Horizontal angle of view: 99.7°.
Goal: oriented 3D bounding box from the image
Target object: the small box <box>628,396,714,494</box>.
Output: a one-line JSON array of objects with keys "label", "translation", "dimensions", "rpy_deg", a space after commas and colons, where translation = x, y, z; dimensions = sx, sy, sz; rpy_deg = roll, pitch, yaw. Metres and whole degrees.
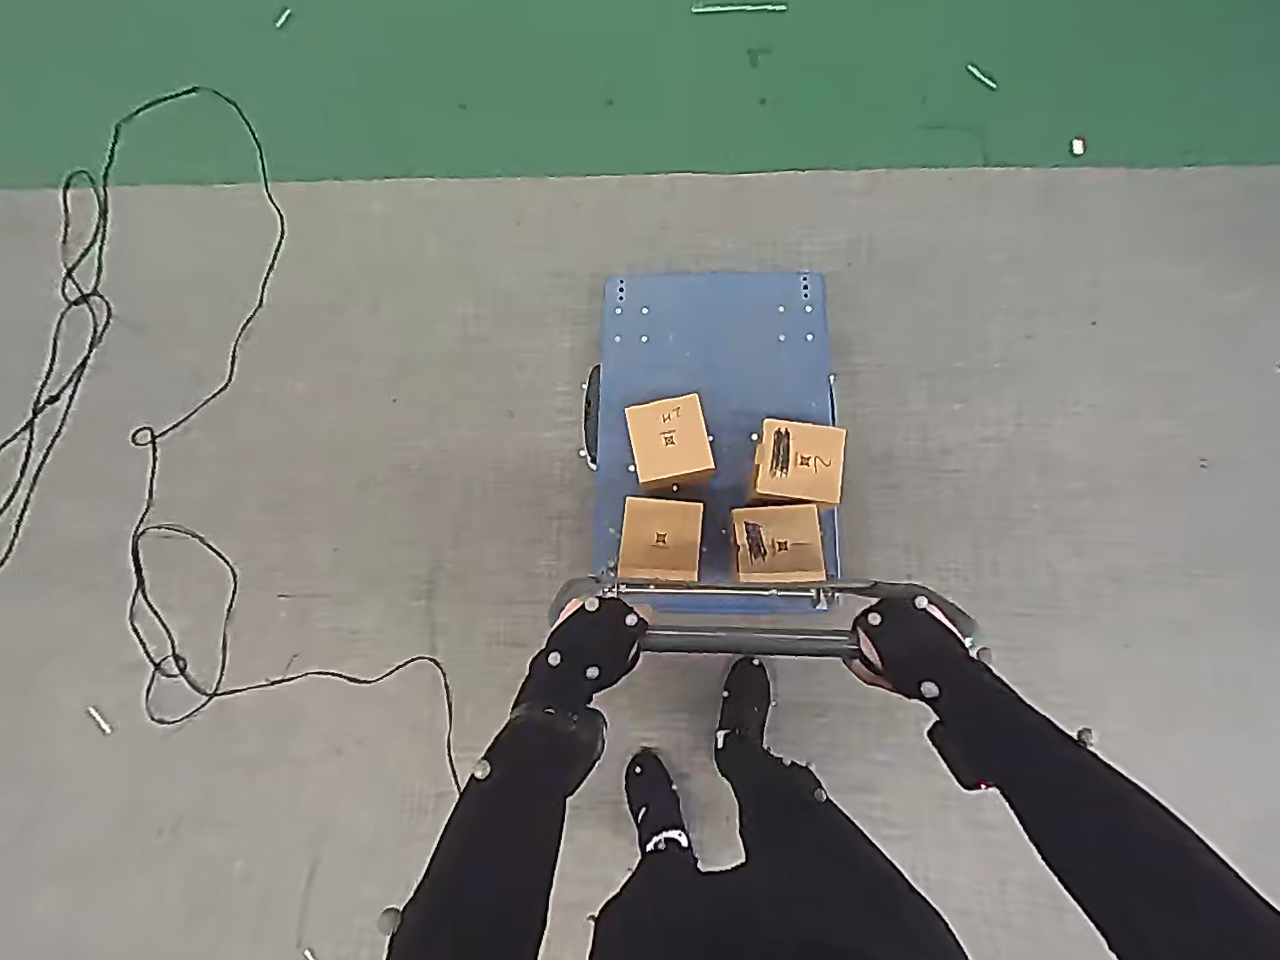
[{"label": "small box", "translation": [0.071, -0.071, 1.244], "dimensions": [0.168, 0.176, 0.179], "rpy_deg": [-11, 78, 1]}]
